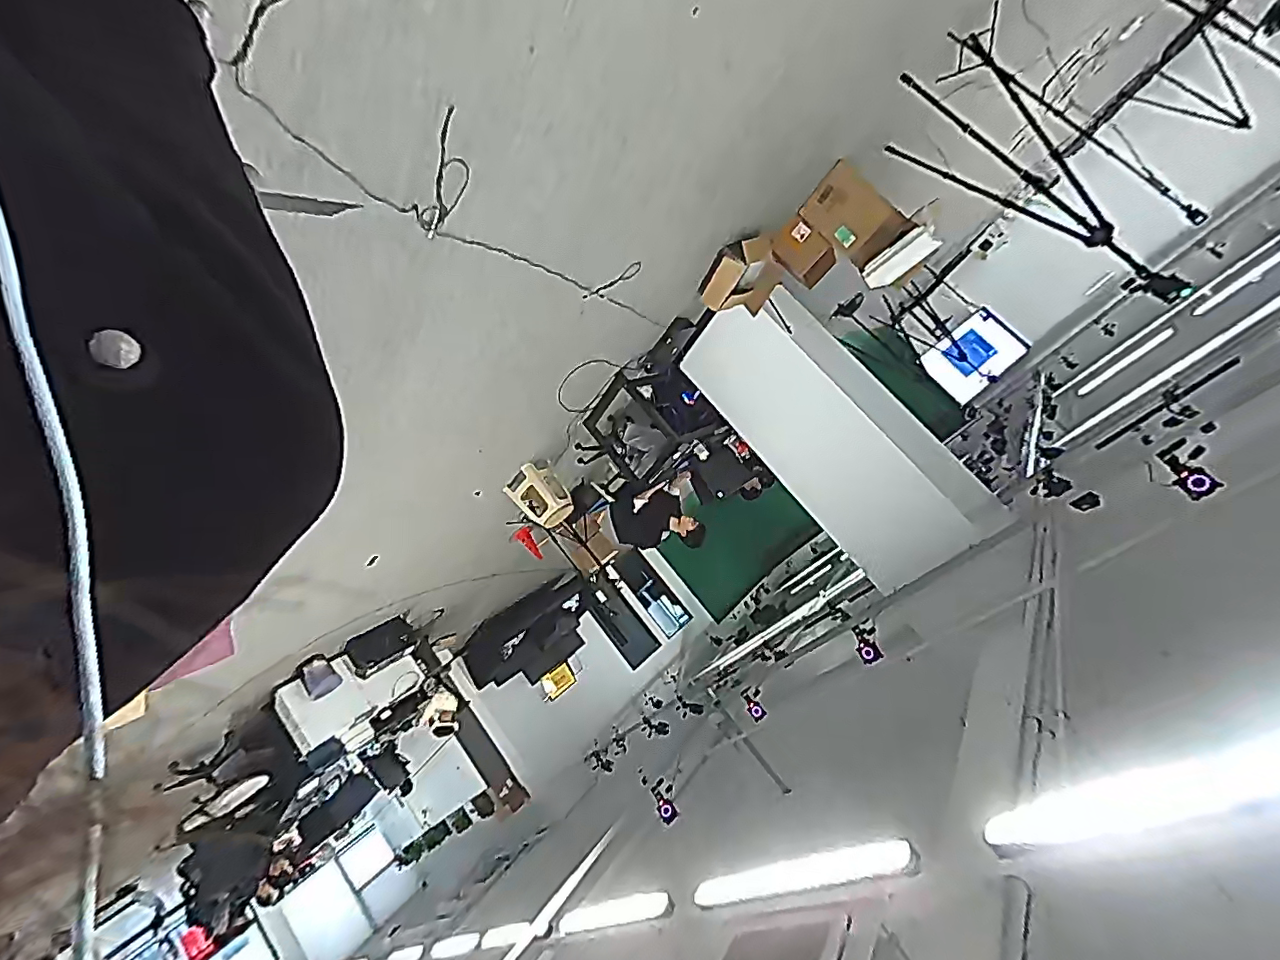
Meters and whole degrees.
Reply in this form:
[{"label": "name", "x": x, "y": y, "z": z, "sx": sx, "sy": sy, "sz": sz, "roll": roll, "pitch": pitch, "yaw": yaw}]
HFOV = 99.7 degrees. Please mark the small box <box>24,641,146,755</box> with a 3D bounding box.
[{"label": "small box", "x": -1.334, "y": 0.515, "z": 1.304, "sx": 0.168, "sy": 0.176, "sz": 0.179, "roll": -23, "pitch": 159, "yaw": -53}]
